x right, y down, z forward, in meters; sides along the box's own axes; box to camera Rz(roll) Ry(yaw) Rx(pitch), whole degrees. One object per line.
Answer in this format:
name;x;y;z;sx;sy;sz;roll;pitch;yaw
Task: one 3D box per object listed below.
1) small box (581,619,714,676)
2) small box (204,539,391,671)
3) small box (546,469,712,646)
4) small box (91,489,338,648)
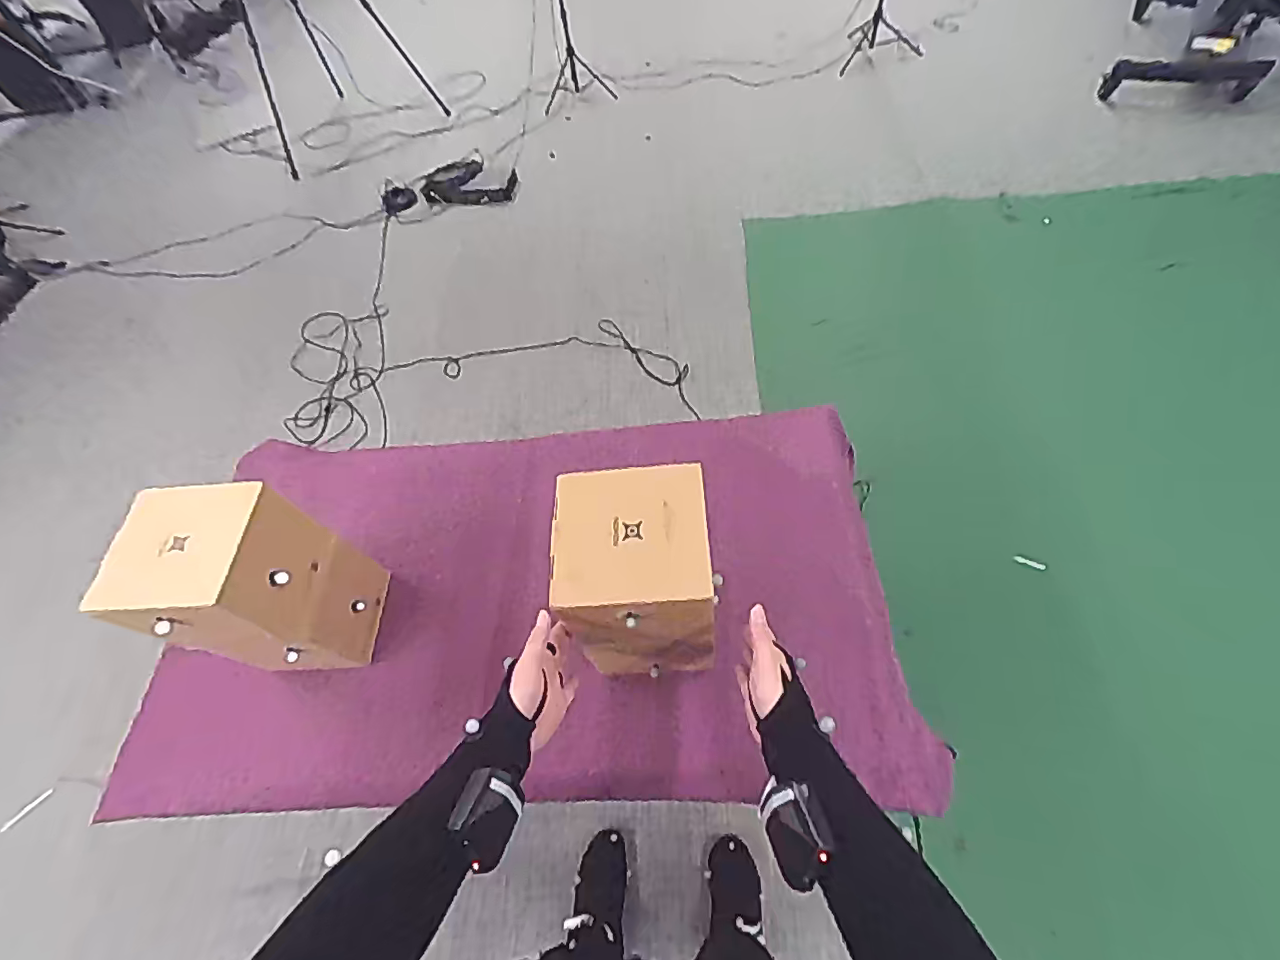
small box;0.014;0.190;0.813;0.179;0.176;0.168;-5;58;4
small box;-0.537;0.207;0.877;0.179;0.176;0.168;-4;58;5
small box;-0.004;0.104;0.675;0.179;0.176;0.168;-4;59;5
small box;-0.555;0.126;0.738;0.179;0.176;0.168;-4;59;6
